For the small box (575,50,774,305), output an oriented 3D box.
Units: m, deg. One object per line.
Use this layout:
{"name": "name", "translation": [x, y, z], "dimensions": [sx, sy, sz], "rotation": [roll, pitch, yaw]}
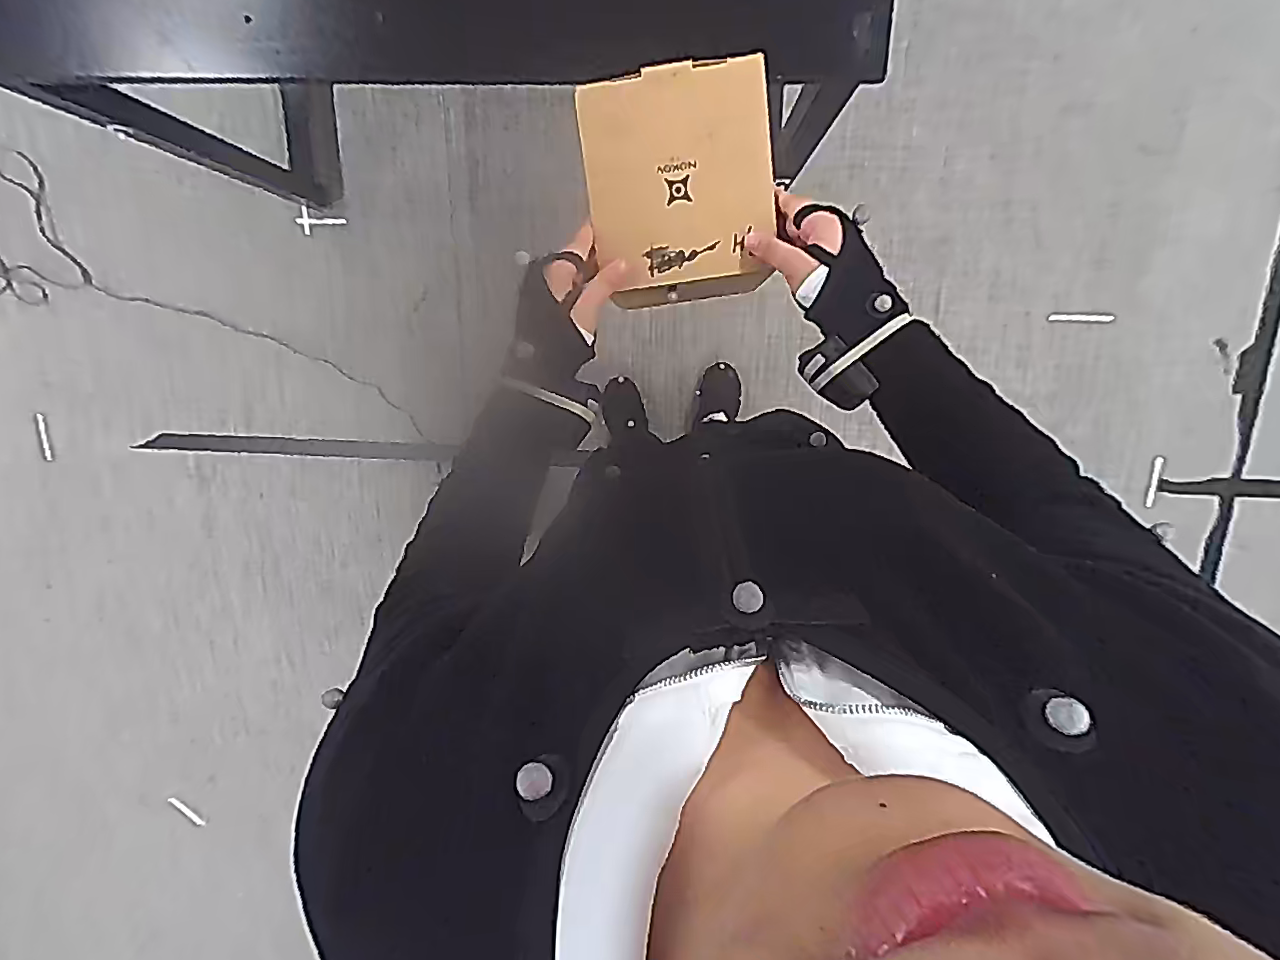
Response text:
{"name": "small box", "translation": [0.037, -0.288, 0.557], "dimensions": [0.168, 0.176, 0.179], "rotation": [-6, 102, 6]}
